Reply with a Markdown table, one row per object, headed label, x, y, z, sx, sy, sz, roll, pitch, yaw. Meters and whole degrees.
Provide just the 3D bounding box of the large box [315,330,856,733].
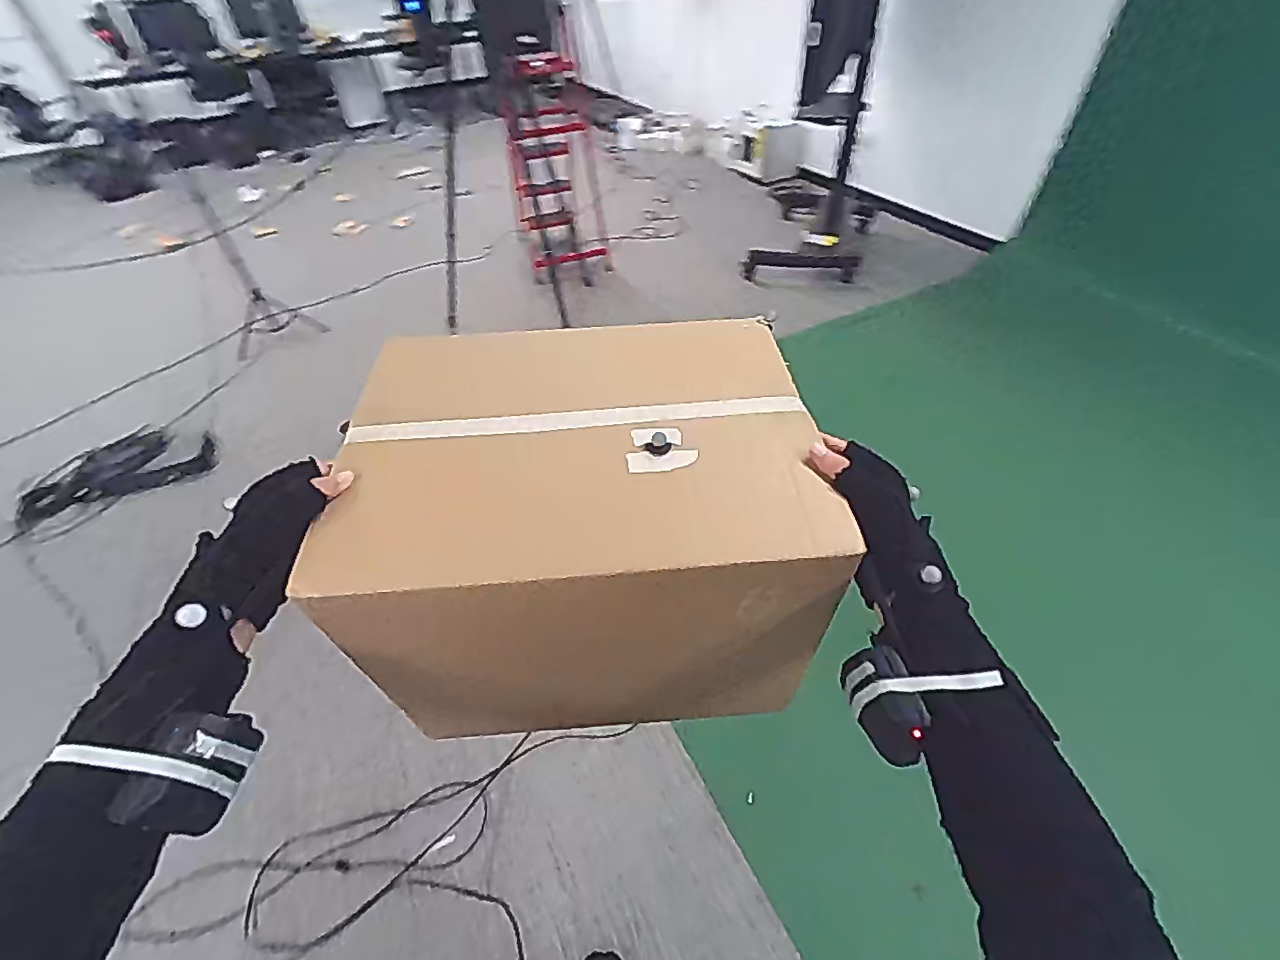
| label | x | y | z | sx | sy | sz | roll | pitch | yaw |
| --- | --- | --- | --- | --- | --- | --- | --- | --- | --- |
| large box | -0.046 | 0.058 | 0.599 | 0.408 | 0.320 | 0.320 | -3 | 48 | -2 |
